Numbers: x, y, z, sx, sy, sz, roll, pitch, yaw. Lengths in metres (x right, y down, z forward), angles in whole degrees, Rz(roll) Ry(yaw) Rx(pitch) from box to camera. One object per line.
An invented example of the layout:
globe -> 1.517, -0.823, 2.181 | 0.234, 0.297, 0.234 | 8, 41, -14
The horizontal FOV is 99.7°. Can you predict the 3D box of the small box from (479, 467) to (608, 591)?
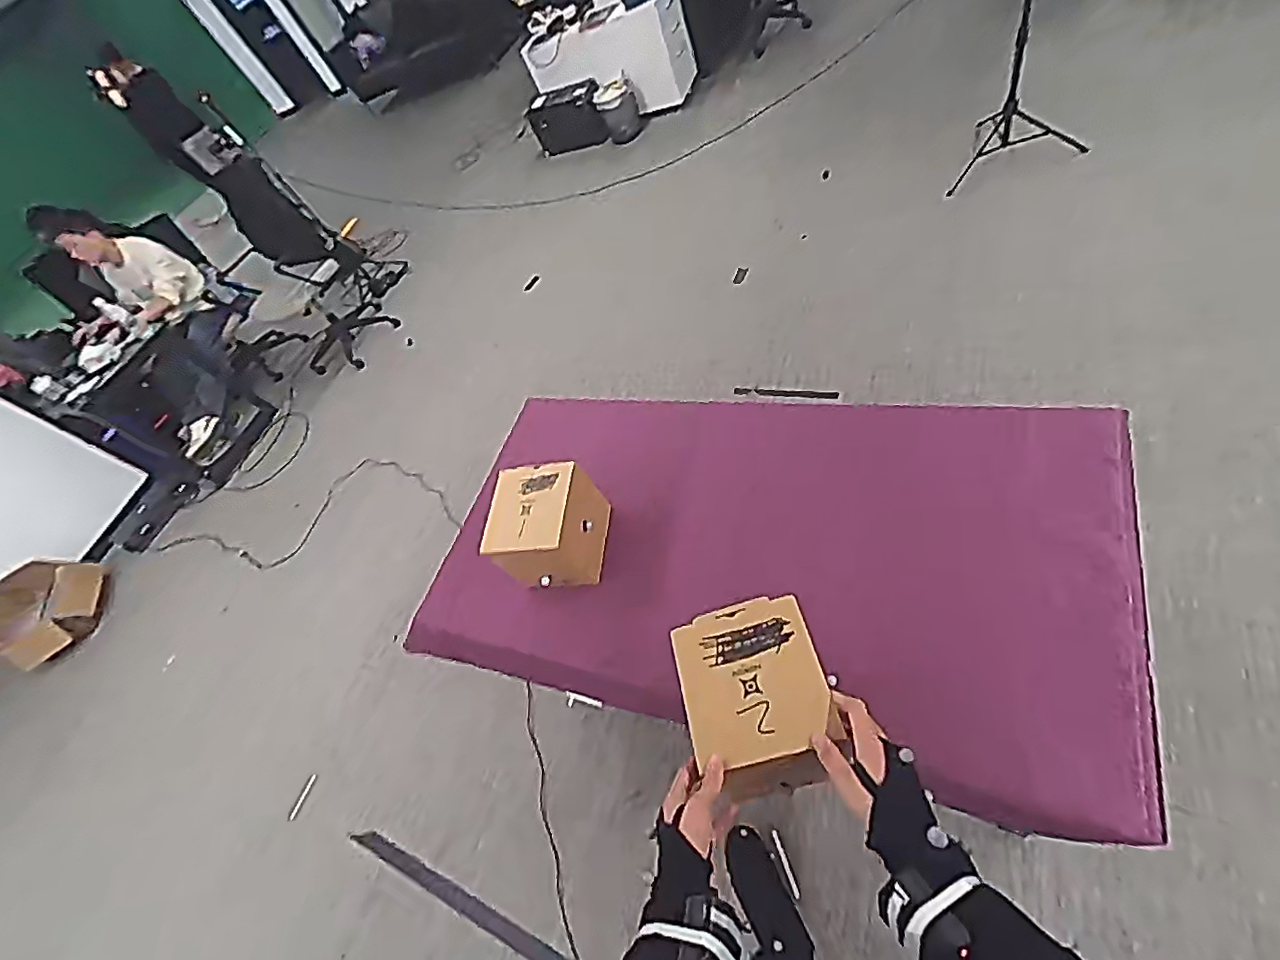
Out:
small box -> -0.173, 0.099, 1.034 | 0.168, 0.176, 0.179 | -7, 56, 21
